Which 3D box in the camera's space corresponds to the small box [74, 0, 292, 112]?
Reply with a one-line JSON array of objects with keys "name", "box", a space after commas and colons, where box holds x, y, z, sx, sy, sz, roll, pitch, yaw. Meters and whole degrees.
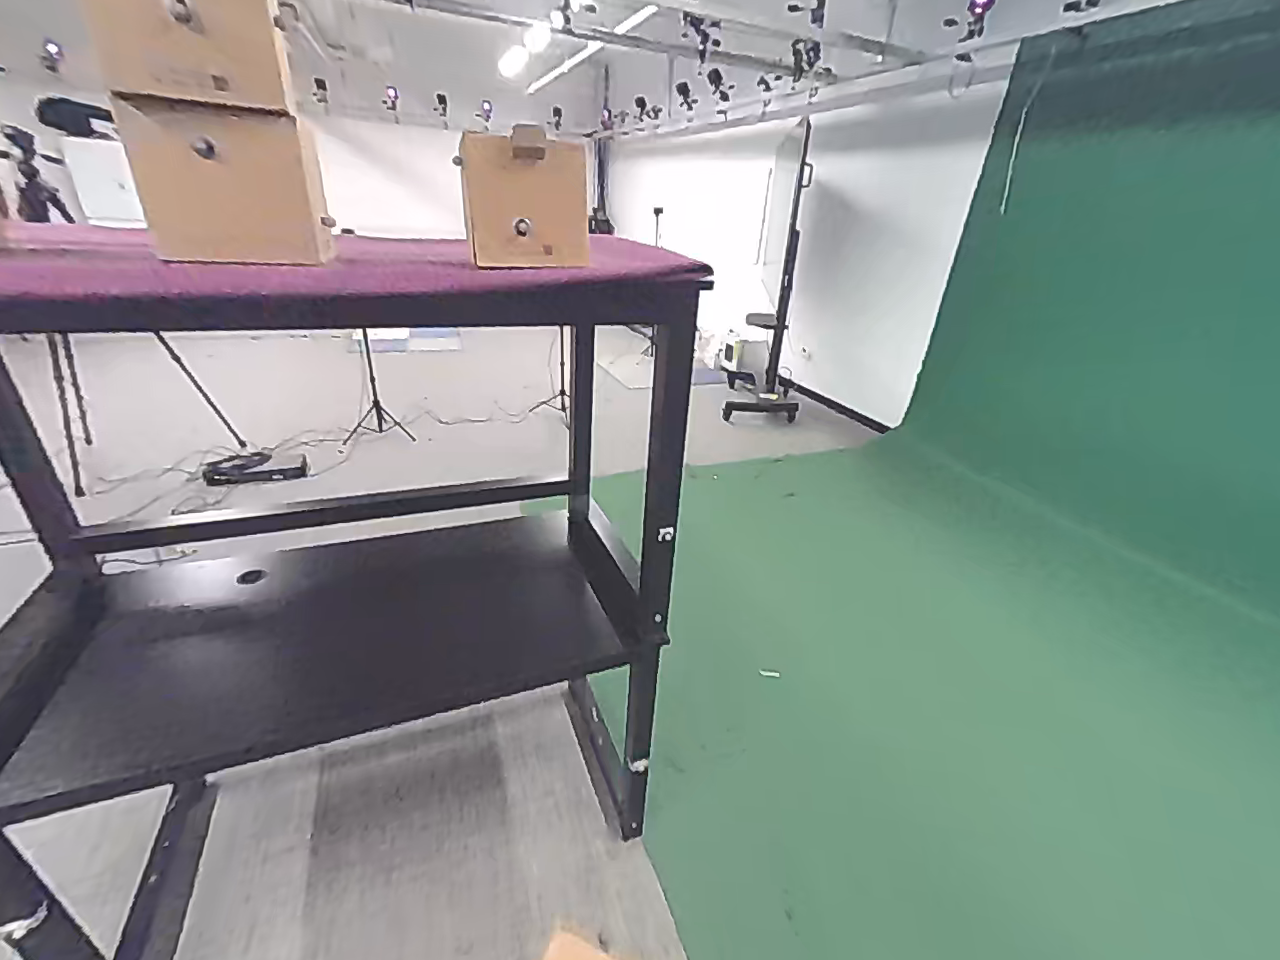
[{"name": "small box", "box": [-0.513, -0.522, 0.618, 0.168, 0.176, 0.179, -9, 29, -25]}]

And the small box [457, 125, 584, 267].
[{"name": "small box", "box": [-0.184, -0.422, 0.822, 0.168, 0.176, 0.179, -7, 27, -18]}]

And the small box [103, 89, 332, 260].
[{"name": "small box", "box": [-0.520, -0.379, 0.700, 0.179, 0.176, 0.168, -7, 27, -21]}]
